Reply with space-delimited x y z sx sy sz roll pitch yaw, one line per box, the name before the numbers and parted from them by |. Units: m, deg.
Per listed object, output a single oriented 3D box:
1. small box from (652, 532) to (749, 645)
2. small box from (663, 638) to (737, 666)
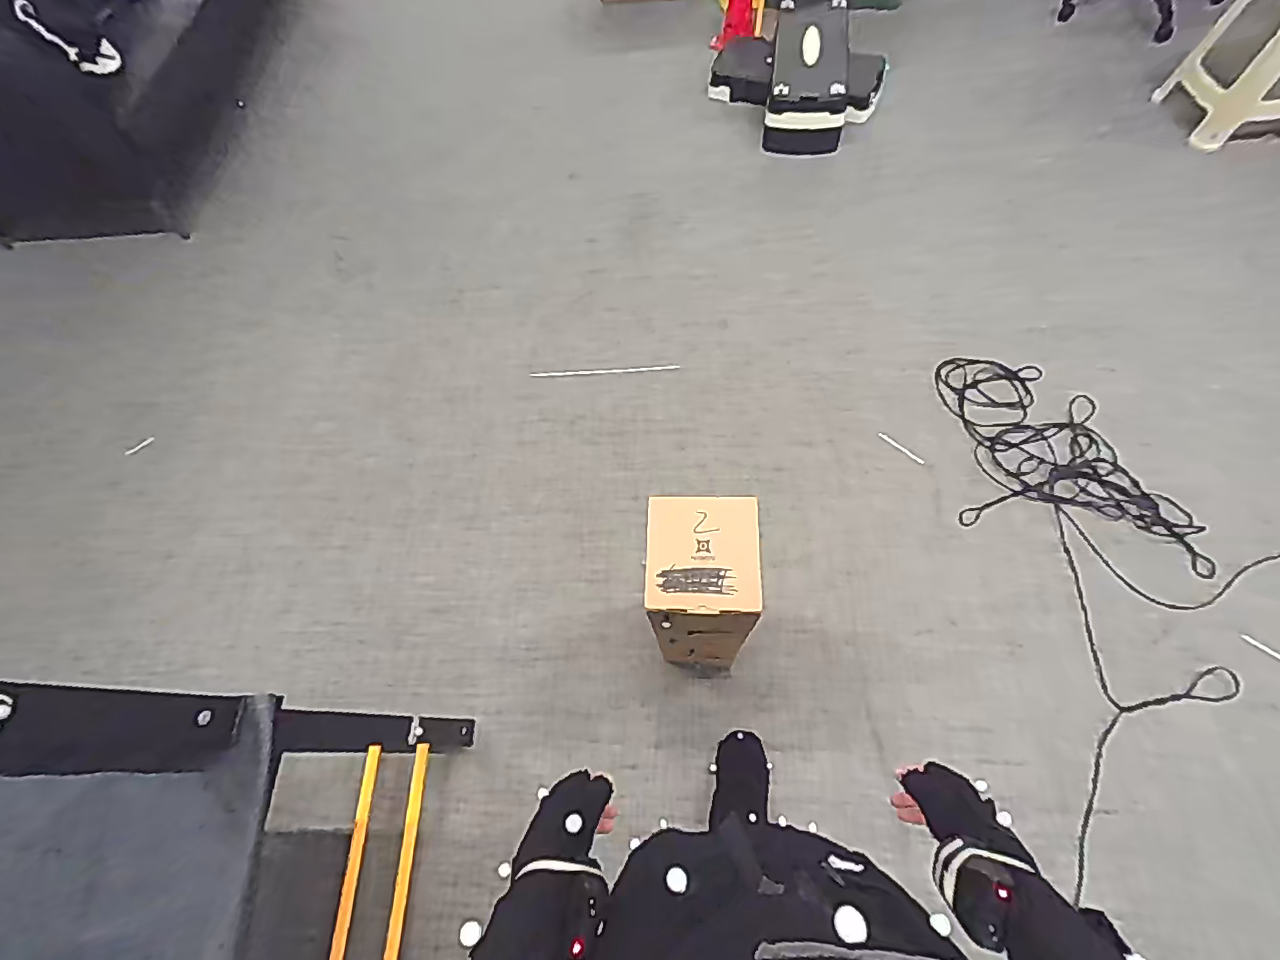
small box | 0.116 0.208 1.012 0.168 0.176 0.179 1 65 6
small box | 0.150 0.345 1.307 0.168 0.176 0.179 4 67 8
